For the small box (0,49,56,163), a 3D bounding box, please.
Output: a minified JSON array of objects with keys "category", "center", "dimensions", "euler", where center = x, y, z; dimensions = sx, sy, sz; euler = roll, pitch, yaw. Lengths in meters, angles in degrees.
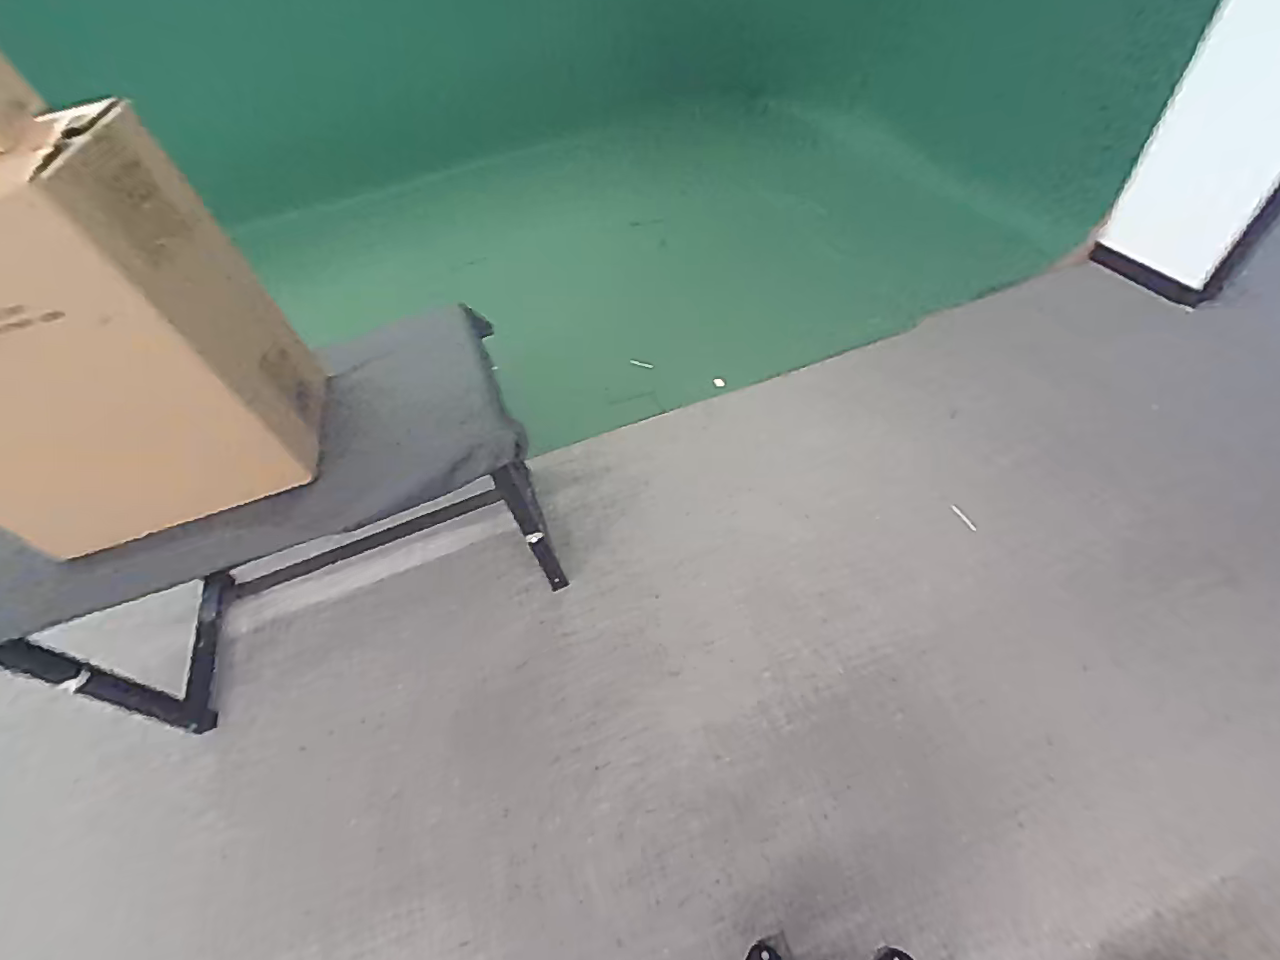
[{"category":"small box","center":[-0.973,-0.530,0.725],"dimensions":[0.179,0.176,0.168],"euler":[-18,57,-5]}]
